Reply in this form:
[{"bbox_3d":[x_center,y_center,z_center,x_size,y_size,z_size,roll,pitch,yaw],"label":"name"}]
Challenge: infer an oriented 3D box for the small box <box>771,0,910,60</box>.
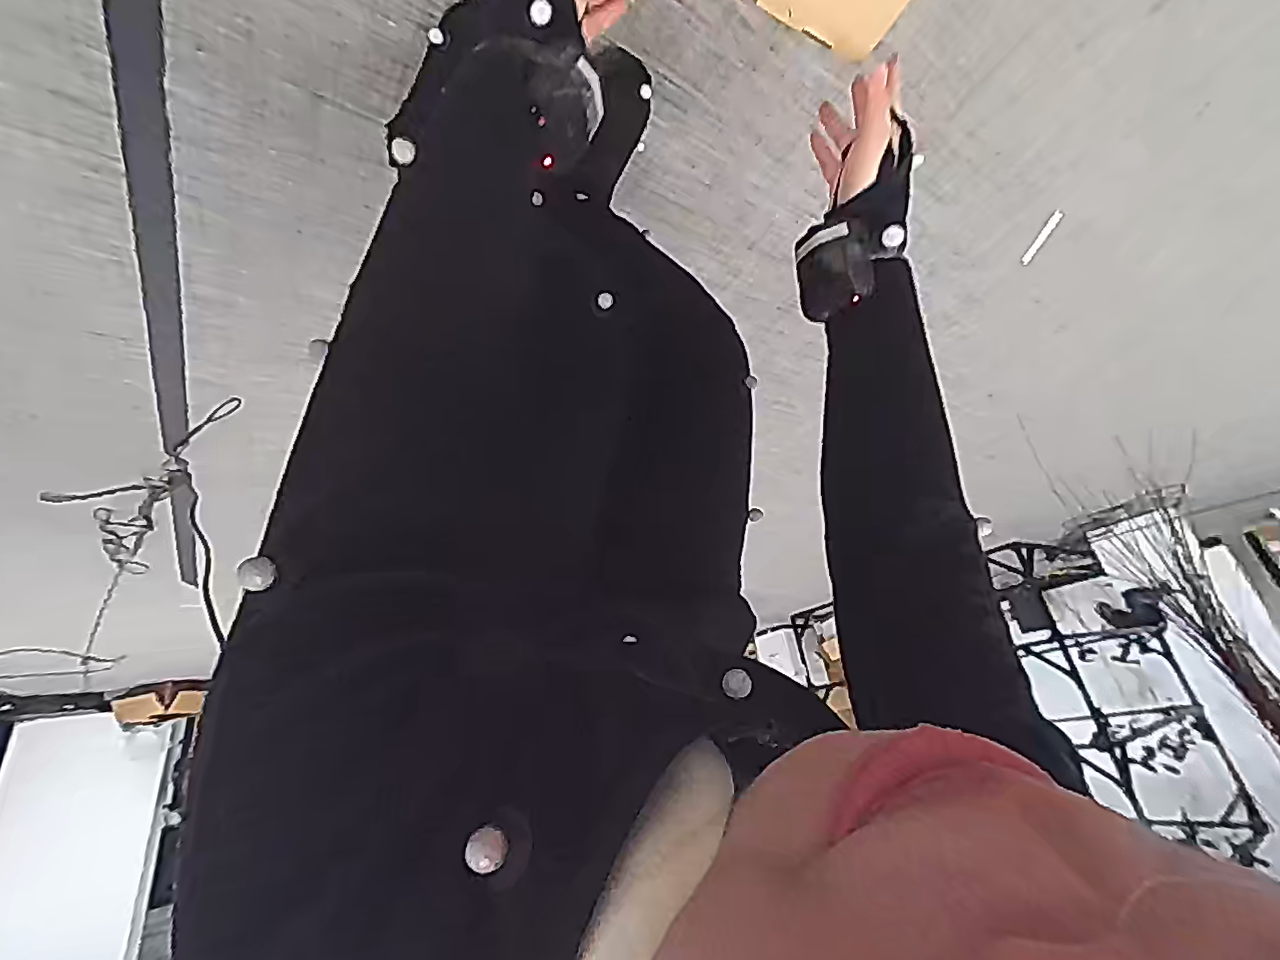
[{"bbox_3d":[0.127,-0.437,0.342,0.168,0.176,0.179,5,152,-29],"label":"small box"}]
